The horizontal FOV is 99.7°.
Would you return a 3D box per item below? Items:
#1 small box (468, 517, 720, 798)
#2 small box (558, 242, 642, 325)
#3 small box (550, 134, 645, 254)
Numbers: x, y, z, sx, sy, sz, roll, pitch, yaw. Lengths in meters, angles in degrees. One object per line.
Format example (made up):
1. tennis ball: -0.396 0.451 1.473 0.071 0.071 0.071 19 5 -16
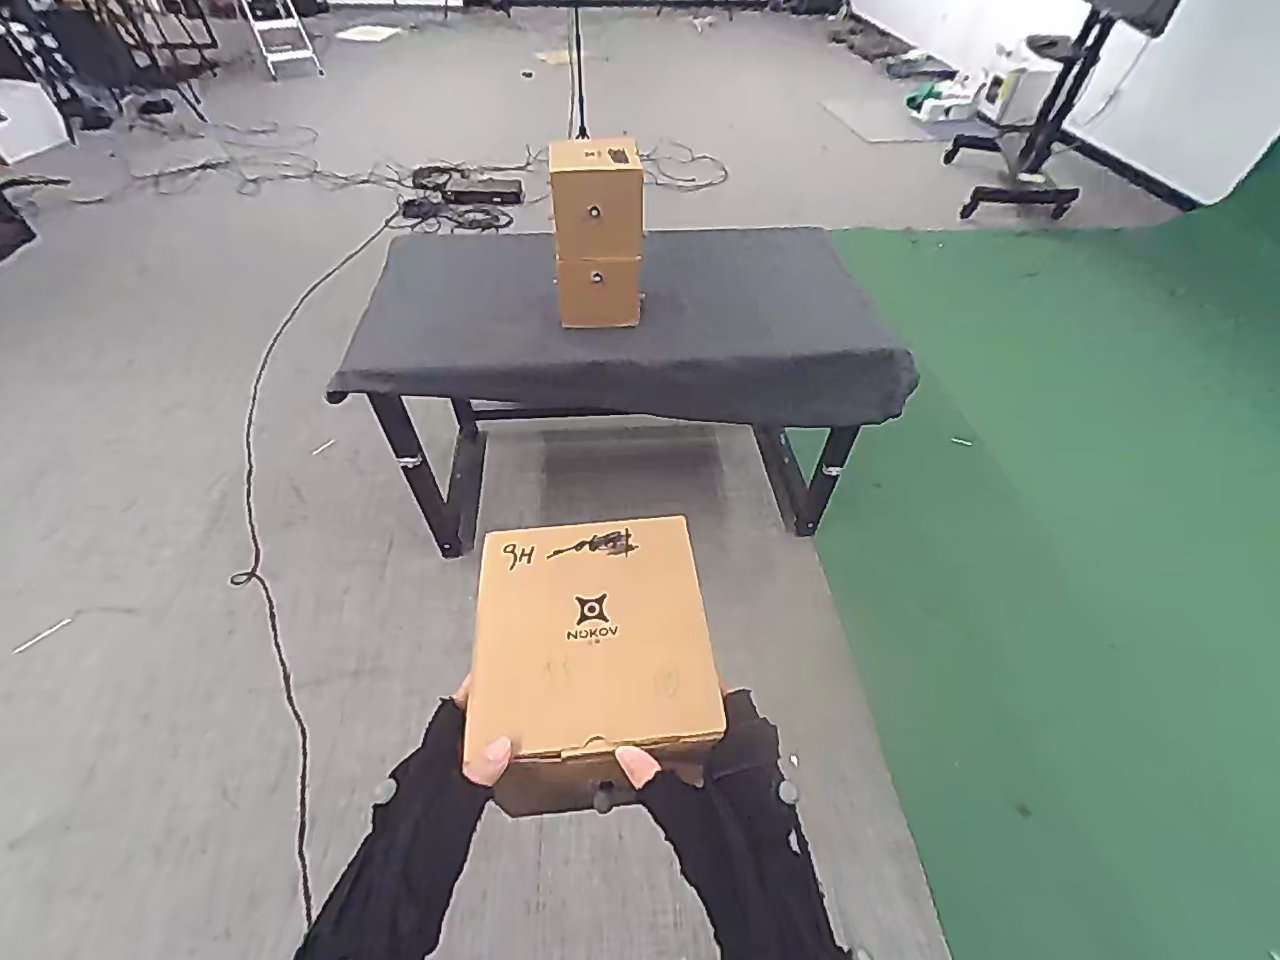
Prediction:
1. small box: -0.035 0.155 0.455 0.168 0.176 0.179 -5 51 -4
2. small box: -0.088 -0.465 1.216 0.179 0.176 0.168 -2 50 -5
3. small box: -0.085 -0.574 1.093 0.179 0.176 0.168 -4 50 -4
